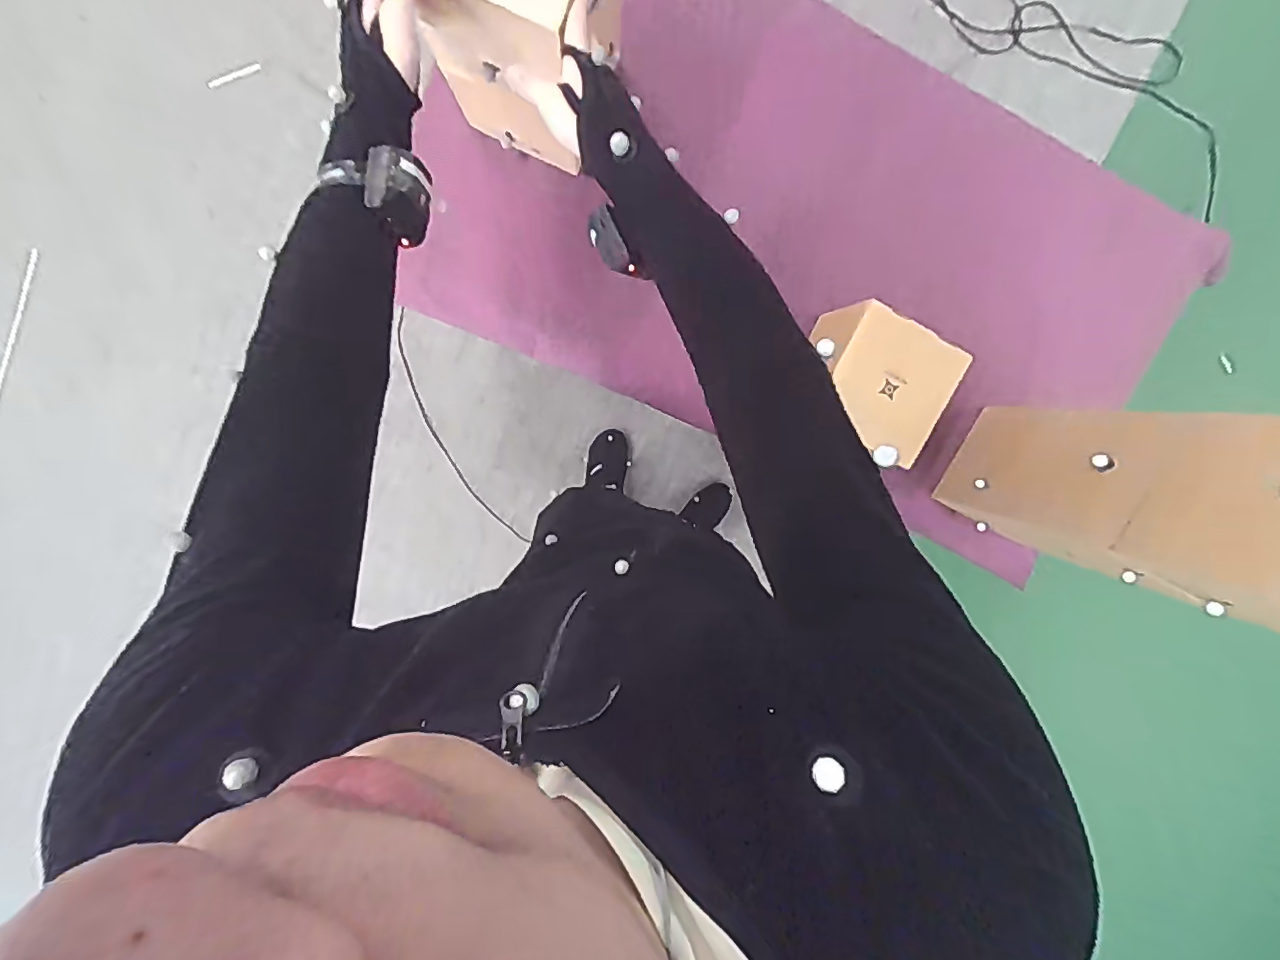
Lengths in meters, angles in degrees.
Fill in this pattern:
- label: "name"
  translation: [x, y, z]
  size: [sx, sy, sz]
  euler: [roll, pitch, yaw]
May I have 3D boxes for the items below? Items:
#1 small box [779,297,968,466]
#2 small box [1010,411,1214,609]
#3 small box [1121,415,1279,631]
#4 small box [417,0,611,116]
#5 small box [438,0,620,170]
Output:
- label: "small box"
  translation: [0.327, -0.141, 0.803]
  size: [0.168, 0.176, 0.179]
  euler: [26, 96, -8]
- label: "small box"
  translation: [0.623, 0.025, 0.682]
  size: [0.168, 0.176, 0.179]
  euler: [27, 96, -7]
- label: "small box"
  translation: [0.634, 0.048, 0.519]
  size: [0.168, 0.176, 0.179]
  euler: [27, 97, -7]
- label: "small box"
  translation: [-0.122, -0.518, 0.539]
  size: [0.168, 0.176, 0.179]
  euler: [21, 99, -7]
- label: "small box"
  translation: [-0.134, -0.547, 0.700]
  size: [0.168, 0.176, 0.179]
  euler: [21, 99, -7]
